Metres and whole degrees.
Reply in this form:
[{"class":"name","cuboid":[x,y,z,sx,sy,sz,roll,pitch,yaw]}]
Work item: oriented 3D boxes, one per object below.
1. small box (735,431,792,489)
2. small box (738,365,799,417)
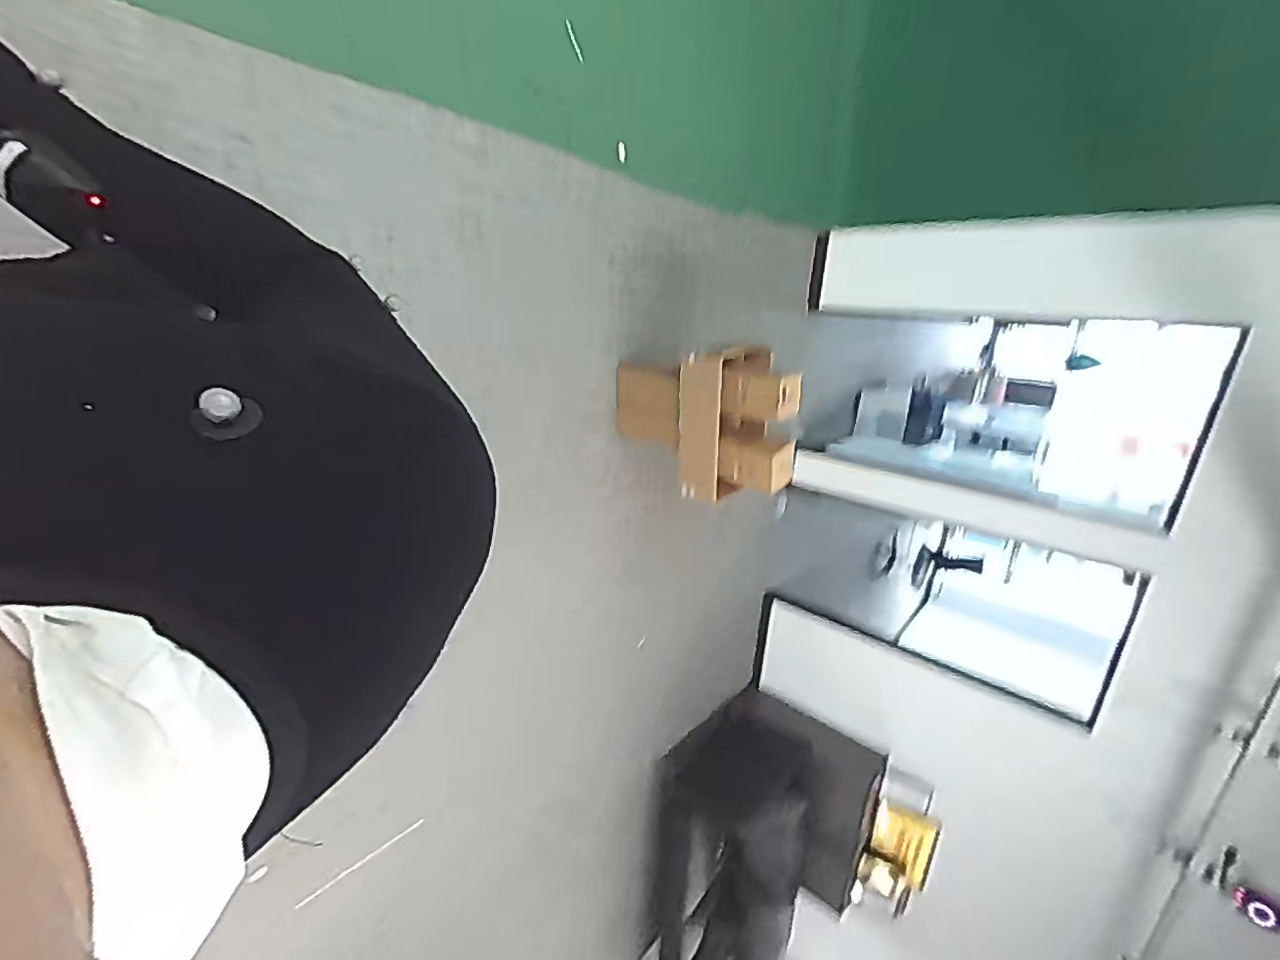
[{"class":"small box","cuboid":[0.497,-0.086,2.194,0.179,0.176,0.168,-31,127,-40]},{"class":"small box","cuboid":[0.492,-0.347,2.086,0.179,0.176,0.168,-23,121,-46]}]
